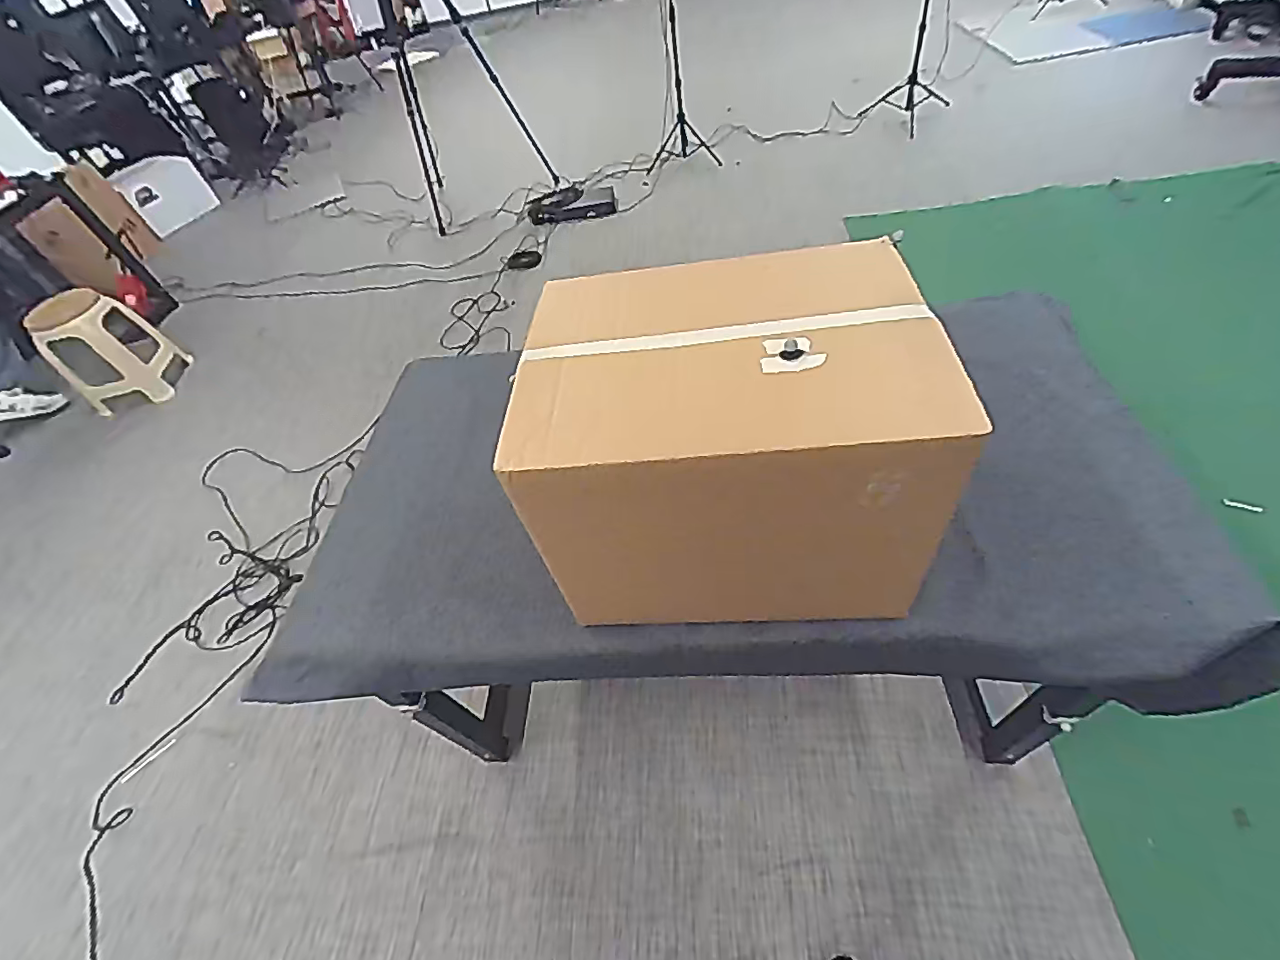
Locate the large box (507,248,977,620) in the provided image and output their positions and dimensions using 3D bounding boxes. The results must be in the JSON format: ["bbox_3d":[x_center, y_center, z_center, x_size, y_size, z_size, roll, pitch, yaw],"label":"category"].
[{"bbox_3d":[0.100,-0.042,0.661,0.408,0.320,0.320,-4,49,8],"label":"large box"}]
